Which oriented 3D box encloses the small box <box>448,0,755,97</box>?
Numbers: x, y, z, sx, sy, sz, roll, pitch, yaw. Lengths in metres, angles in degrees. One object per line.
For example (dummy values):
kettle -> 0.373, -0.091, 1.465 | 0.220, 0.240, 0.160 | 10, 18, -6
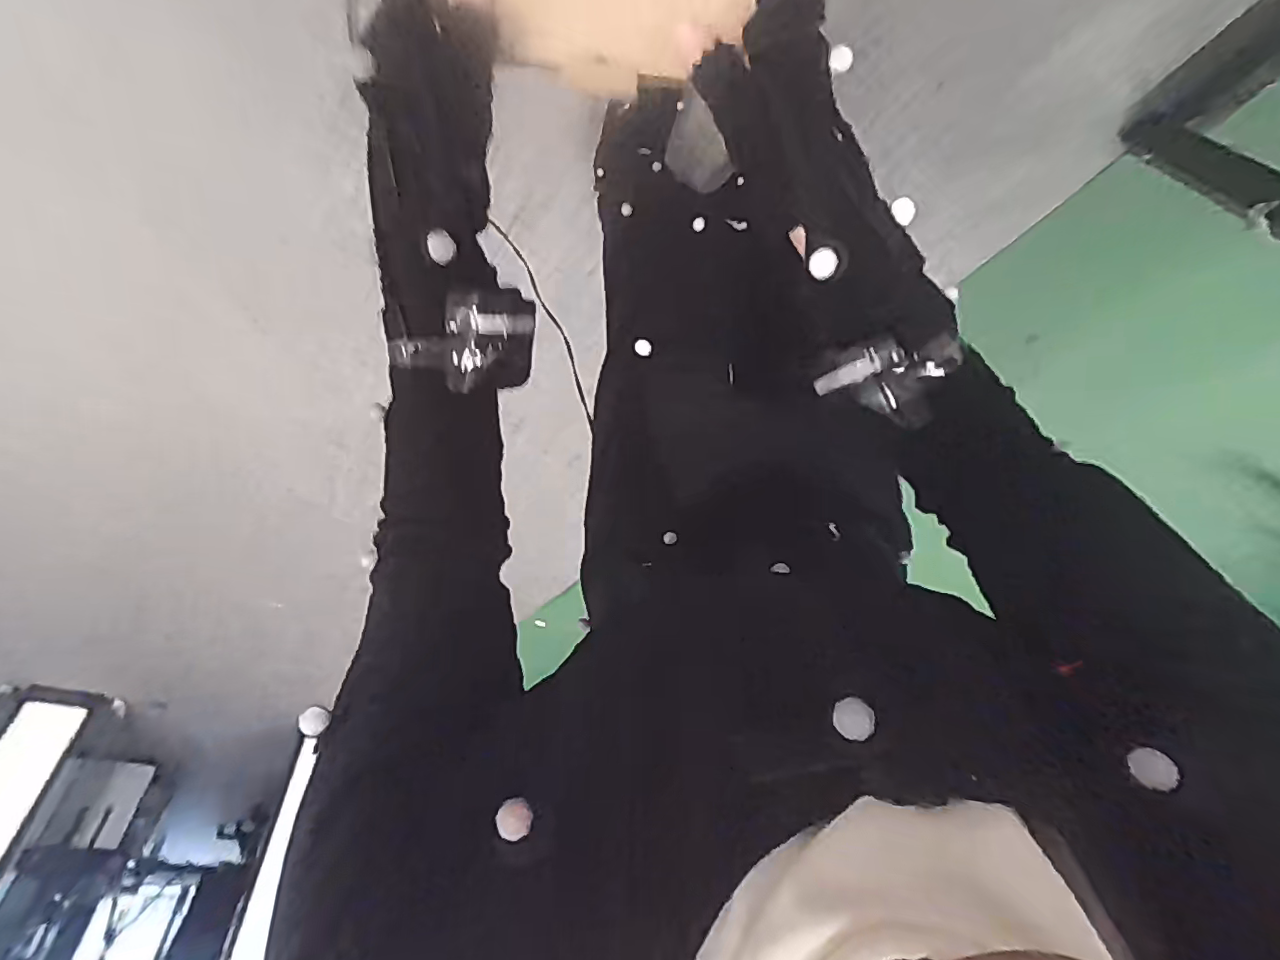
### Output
small box -> -0.018, -0.340, 0.318 | 0.168, 0.176, 0.179 | 1, 127, -2
